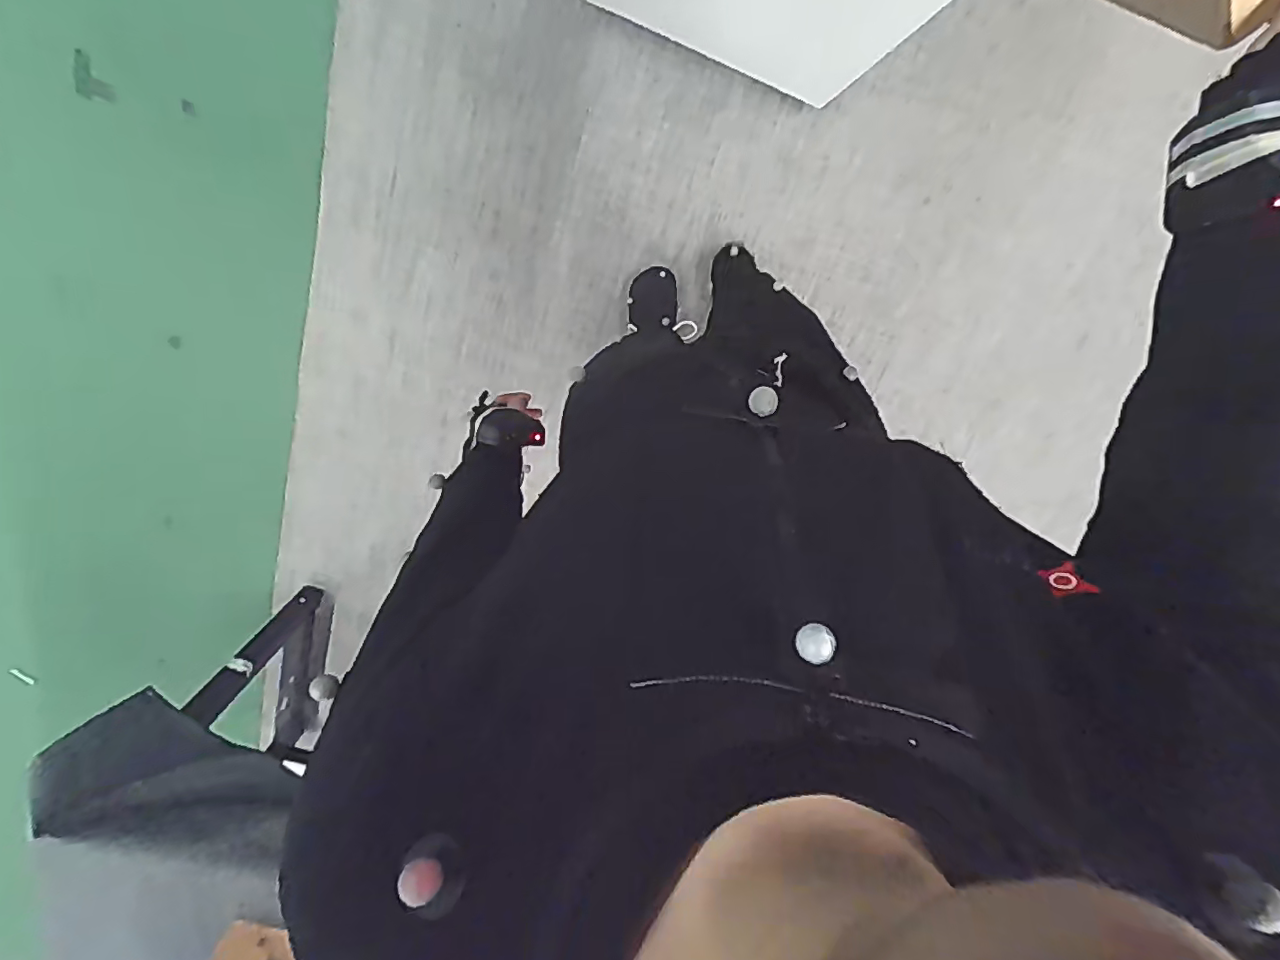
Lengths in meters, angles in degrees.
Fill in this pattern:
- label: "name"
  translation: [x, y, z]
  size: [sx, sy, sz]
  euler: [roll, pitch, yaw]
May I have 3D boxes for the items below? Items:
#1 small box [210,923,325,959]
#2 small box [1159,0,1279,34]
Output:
- label: "small box"
  translation: [-0.645, 0.874, 0.872]
  size: [0.168, 0.176, 0.179]
  euler: [23, 109, -9]
- label: "small box"
  translation: [0.344, -0.399, 0.278]
  size: [0.168, 0.176, 0.179]
  euler: [-36, 136, 29]
